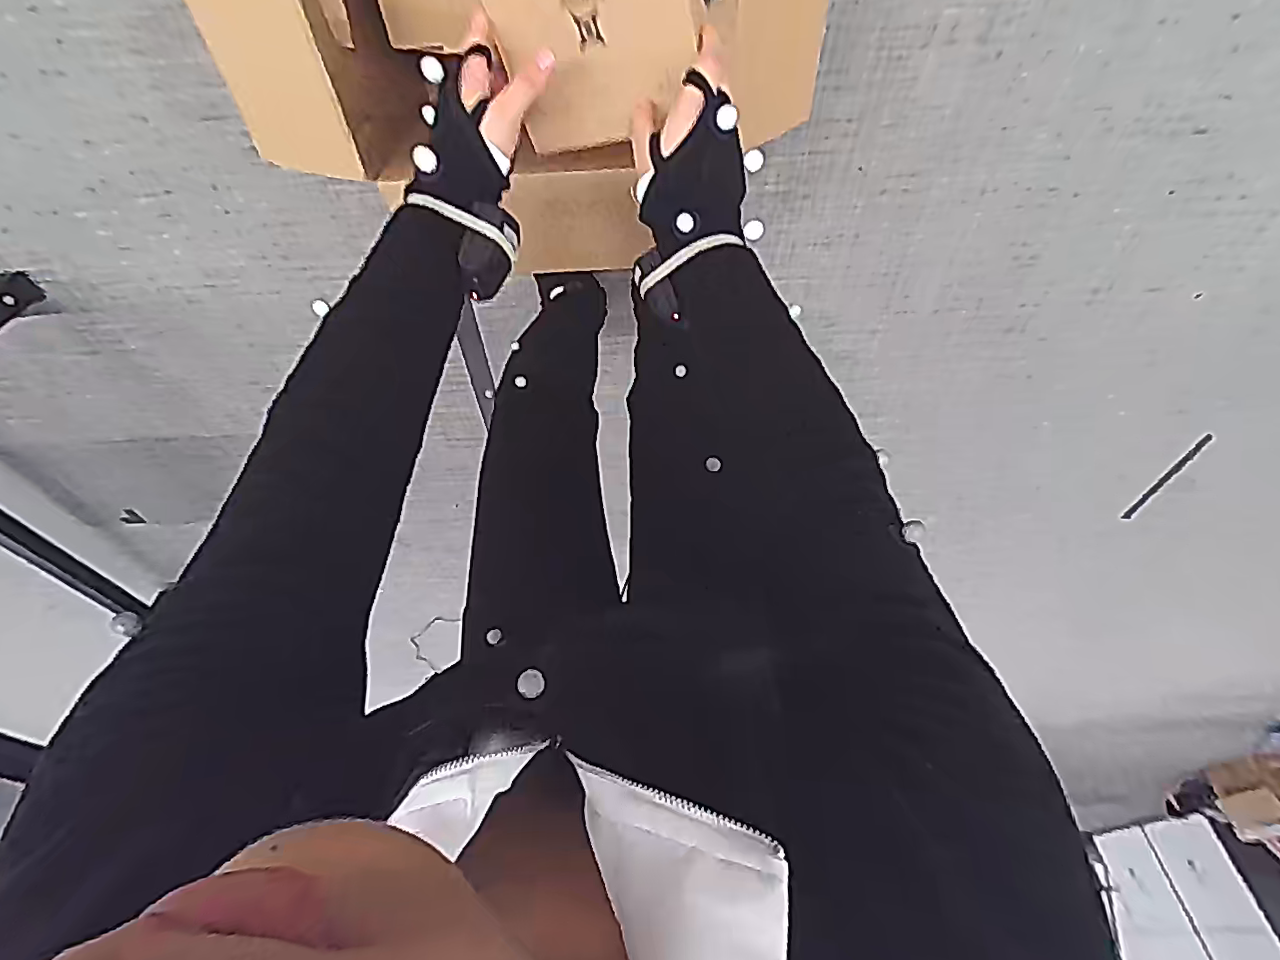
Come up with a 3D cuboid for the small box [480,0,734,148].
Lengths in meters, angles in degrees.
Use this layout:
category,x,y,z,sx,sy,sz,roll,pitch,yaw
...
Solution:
category,x,y,z,sx,sy,sz,roll,pitch,yaw
small box,-0.021,-0.416,0.459,0.168,0.176,0.179,5,138,21
